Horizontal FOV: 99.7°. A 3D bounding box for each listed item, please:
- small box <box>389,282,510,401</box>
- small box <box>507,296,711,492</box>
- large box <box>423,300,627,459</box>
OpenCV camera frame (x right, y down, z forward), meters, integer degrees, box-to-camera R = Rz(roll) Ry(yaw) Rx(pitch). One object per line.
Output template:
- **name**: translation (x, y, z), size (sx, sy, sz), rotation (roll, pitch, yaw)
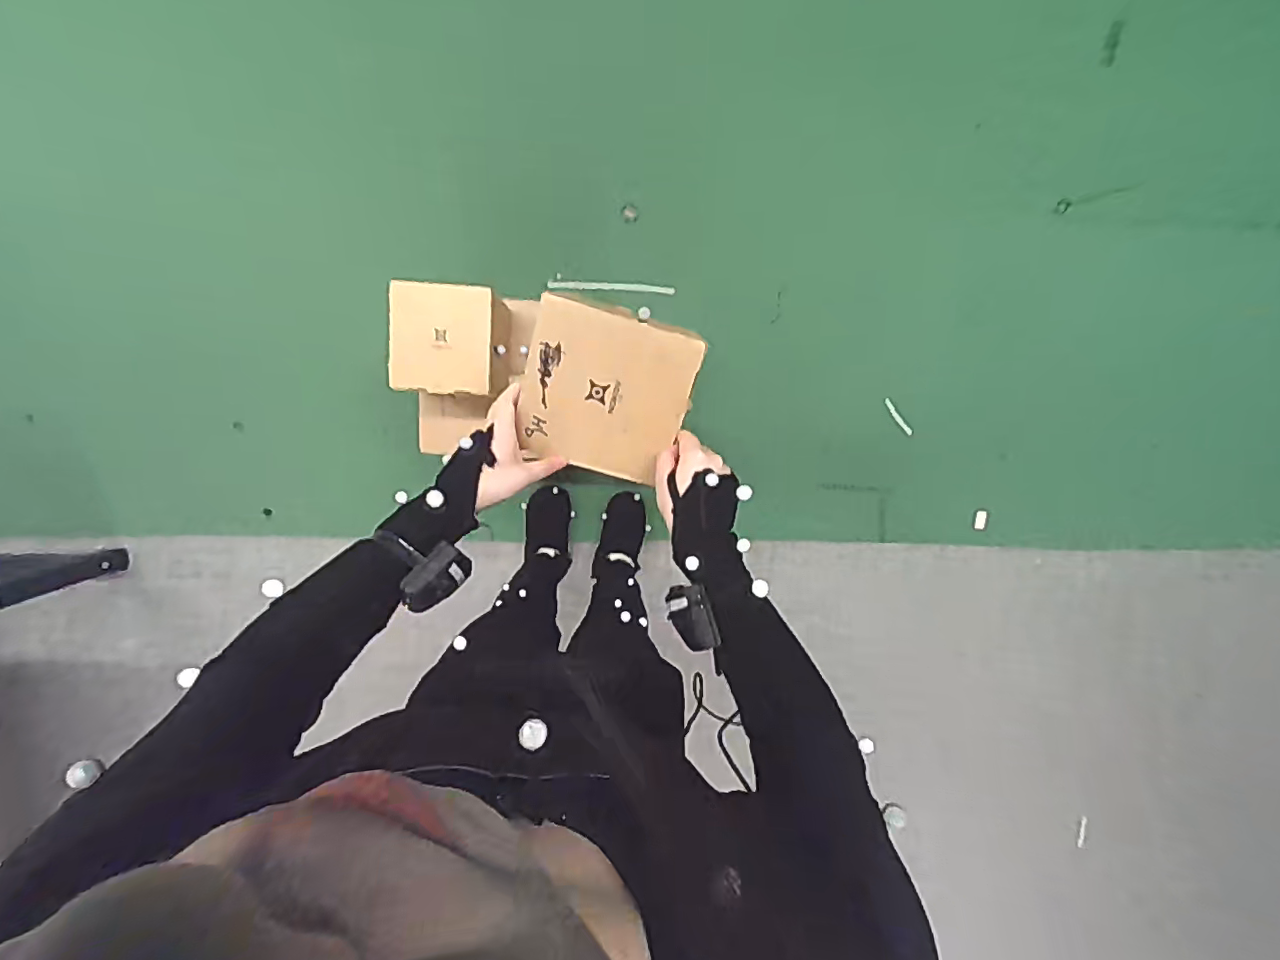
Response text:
- **small box**: translation (-0.331, -0.237, 0.964), size (0.168, 0.176, 0.179), rotation (3, 97, -4)
- **small box**: translation (-0.034, -0.109, 0.624), size (0.179, 0.176, 0.168), rotation (16, 108, -5)
- **large box**: translation (-0.239, -0.213, 1.217), size (0.408, 0.320, 0.320), rotation (2, 98, -4)
